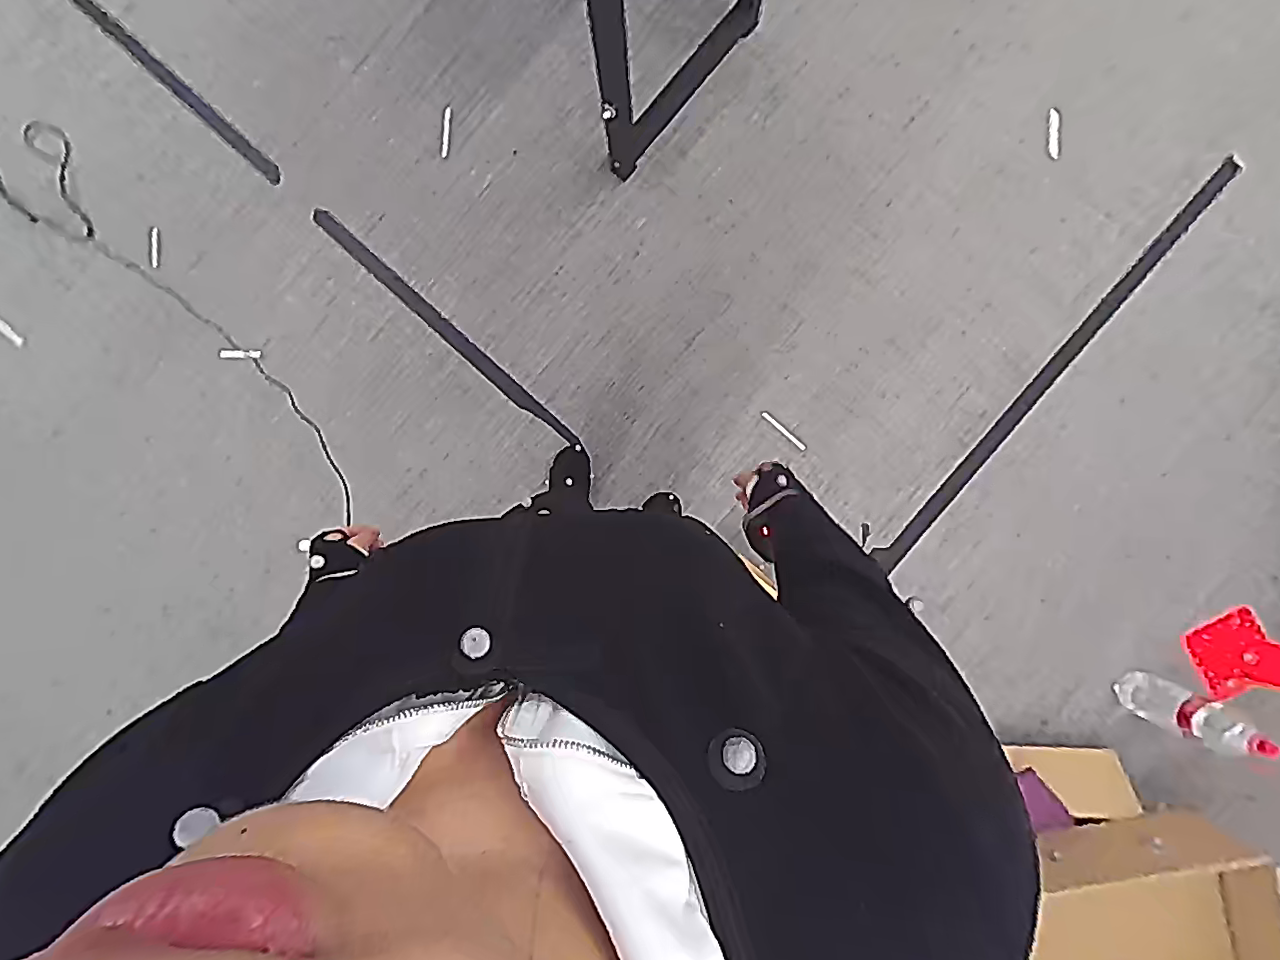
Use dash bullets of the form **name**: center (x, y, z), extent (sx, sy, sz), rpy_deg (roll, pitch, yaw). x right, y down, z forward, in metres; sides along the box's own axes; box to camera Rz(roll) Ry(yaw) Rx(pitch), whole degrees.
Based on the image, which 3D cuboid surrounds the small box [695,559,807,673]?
- **small box**: center (0.246, 0.299, 1.239), extent (0.179, 0.176, 0.168), rpy_deg (39, 92, 1)

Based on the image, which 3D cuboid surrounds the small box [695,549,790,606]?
- **small box**: center (0.256, 0.299, 1.403), extent (0.168, 0.176, 0.179), rpy_deg (41, 90, 2)
